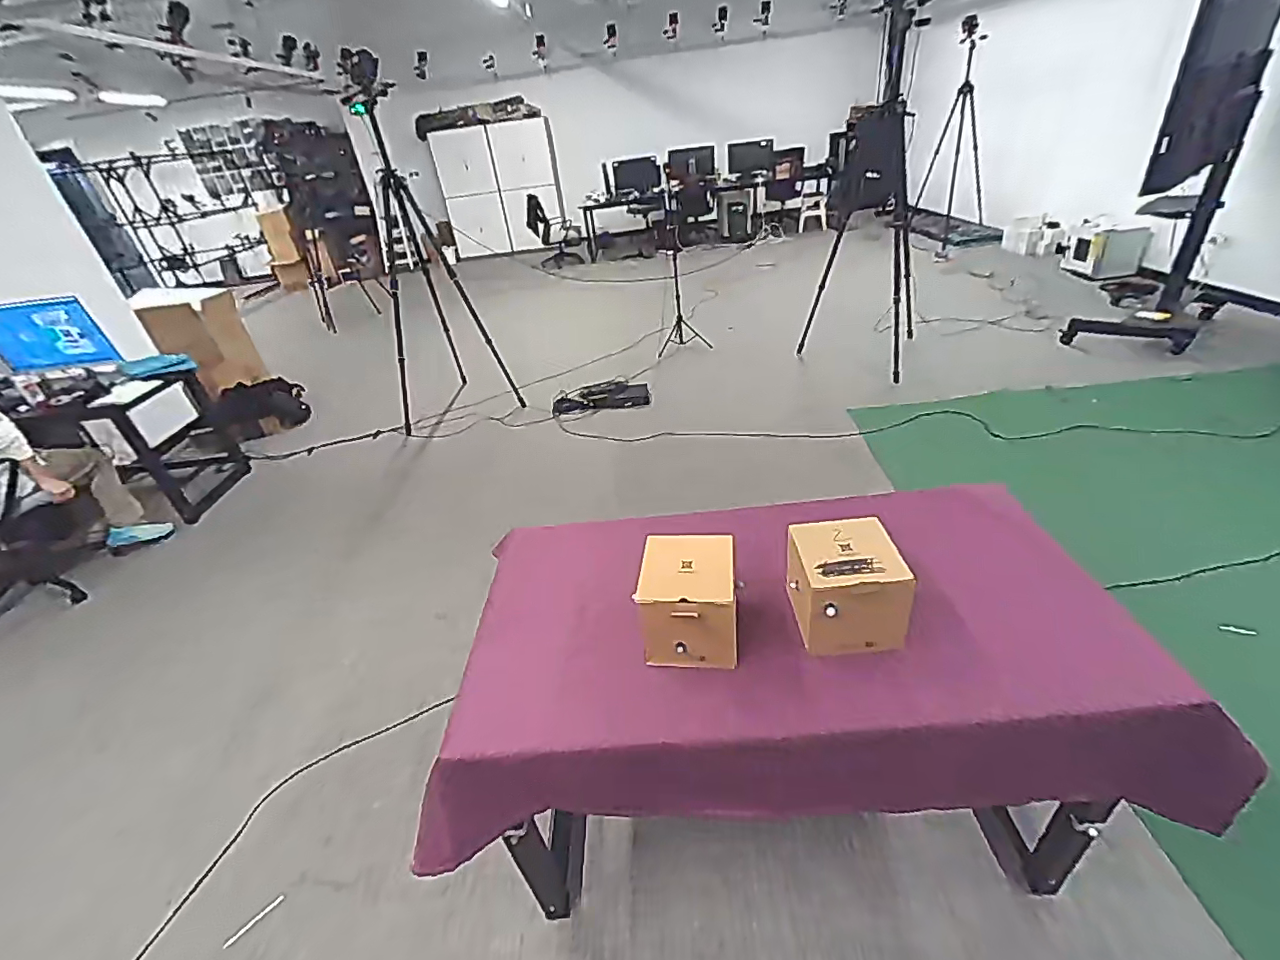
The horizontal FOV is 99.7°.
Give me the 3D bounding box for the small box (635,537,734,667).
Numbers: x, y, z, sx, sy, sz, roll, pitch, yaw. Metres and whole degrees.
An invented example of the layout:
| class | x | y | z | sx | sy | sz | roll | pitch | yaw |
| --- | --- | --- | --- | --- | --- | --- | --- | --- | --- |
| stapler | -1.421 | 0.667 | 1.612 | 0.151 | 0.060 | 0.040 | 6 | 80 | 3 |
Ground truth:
| class | x | y | z | sx | sy | sz | roll | pitch | yaw |
| --- | --- | --- | --- | --- | --- | --- | --- | --- | --- |
| small box | 0.091 | 0.226 | 1.022 | 0.168 | 0.176 | 0.179 | -2 | 34 | 10 |
